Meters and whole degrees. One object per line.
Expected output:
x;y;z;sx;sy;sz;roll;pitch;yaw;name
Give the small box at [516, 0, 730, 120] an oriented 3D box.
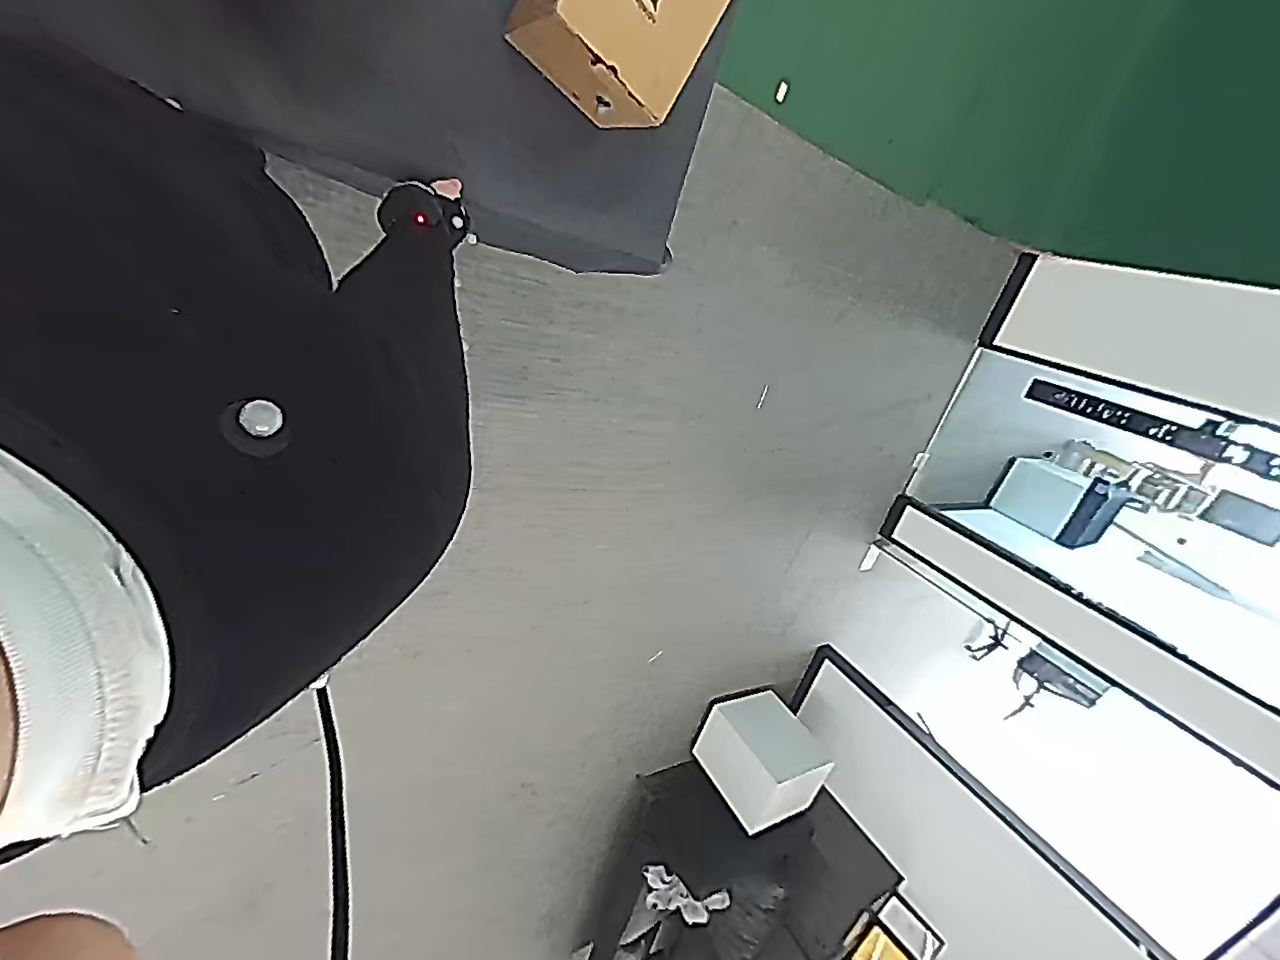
-0.026;-0.565;0.642;0.168;0.176;0.179;22;104;-42;small box
